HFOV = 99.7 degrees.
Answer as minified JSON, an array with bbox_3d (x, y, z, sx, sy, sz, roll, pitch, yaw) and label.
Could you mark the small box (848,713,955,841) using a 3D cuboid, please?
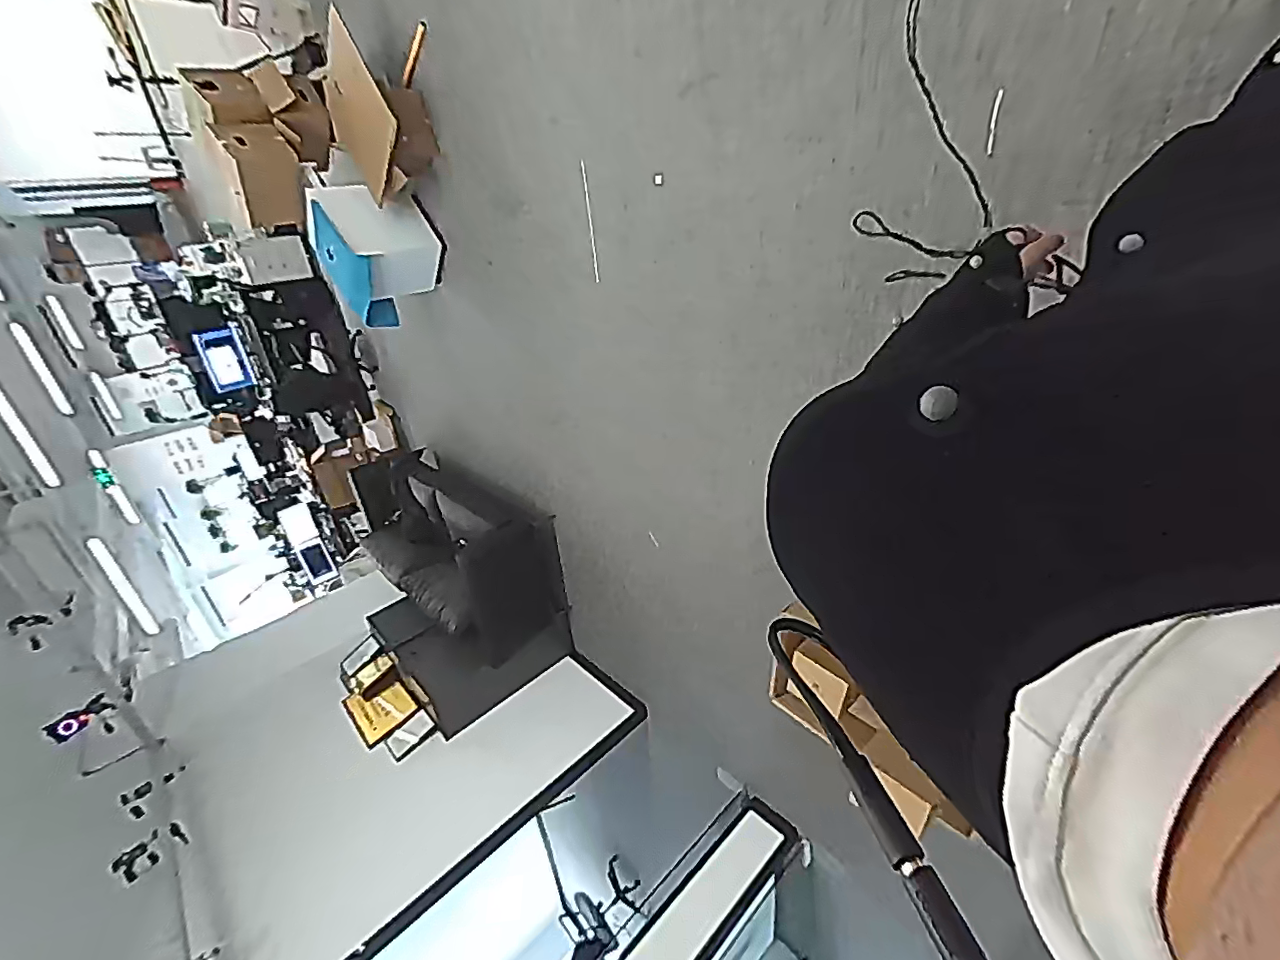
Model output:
[{"bbox_3d":[0.636,0.711,1.313,0.168,0.176,0.179,26,130,41],"label":"small box"}]
